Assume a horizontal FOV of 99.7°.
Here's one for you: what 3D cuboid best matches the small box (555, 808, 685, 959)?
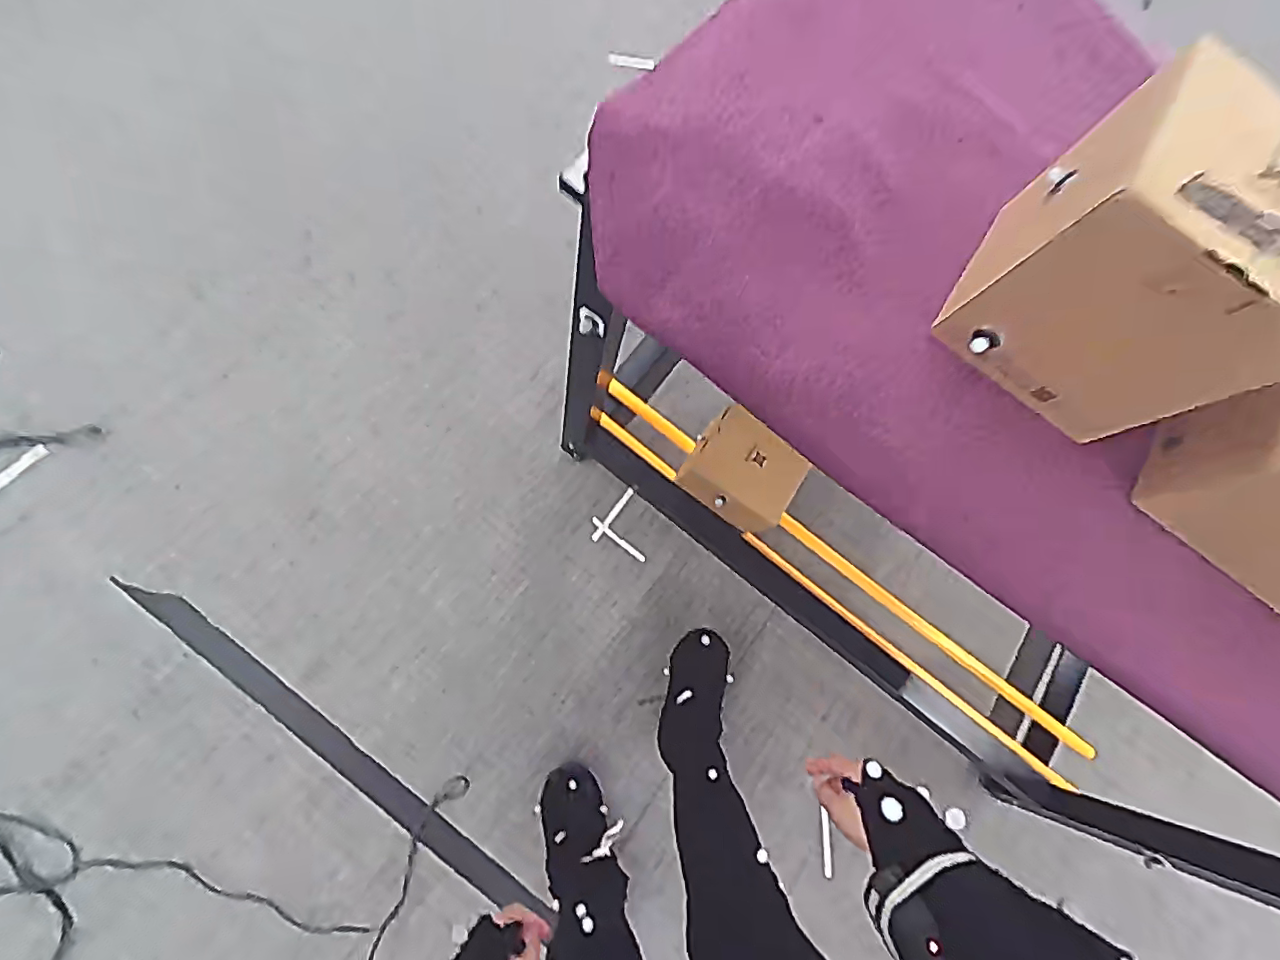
[{"bbox_3d":[-0.041,0.660,0.881,0.179,0.176,0.168,-1,73,-13],"label":"small box"}]

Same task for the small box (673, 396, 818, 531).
[{"bbox_3d":[0.185,-0.019,0.997,0.179,0.176,0.168,34,75,1],"label":"small box"}]
